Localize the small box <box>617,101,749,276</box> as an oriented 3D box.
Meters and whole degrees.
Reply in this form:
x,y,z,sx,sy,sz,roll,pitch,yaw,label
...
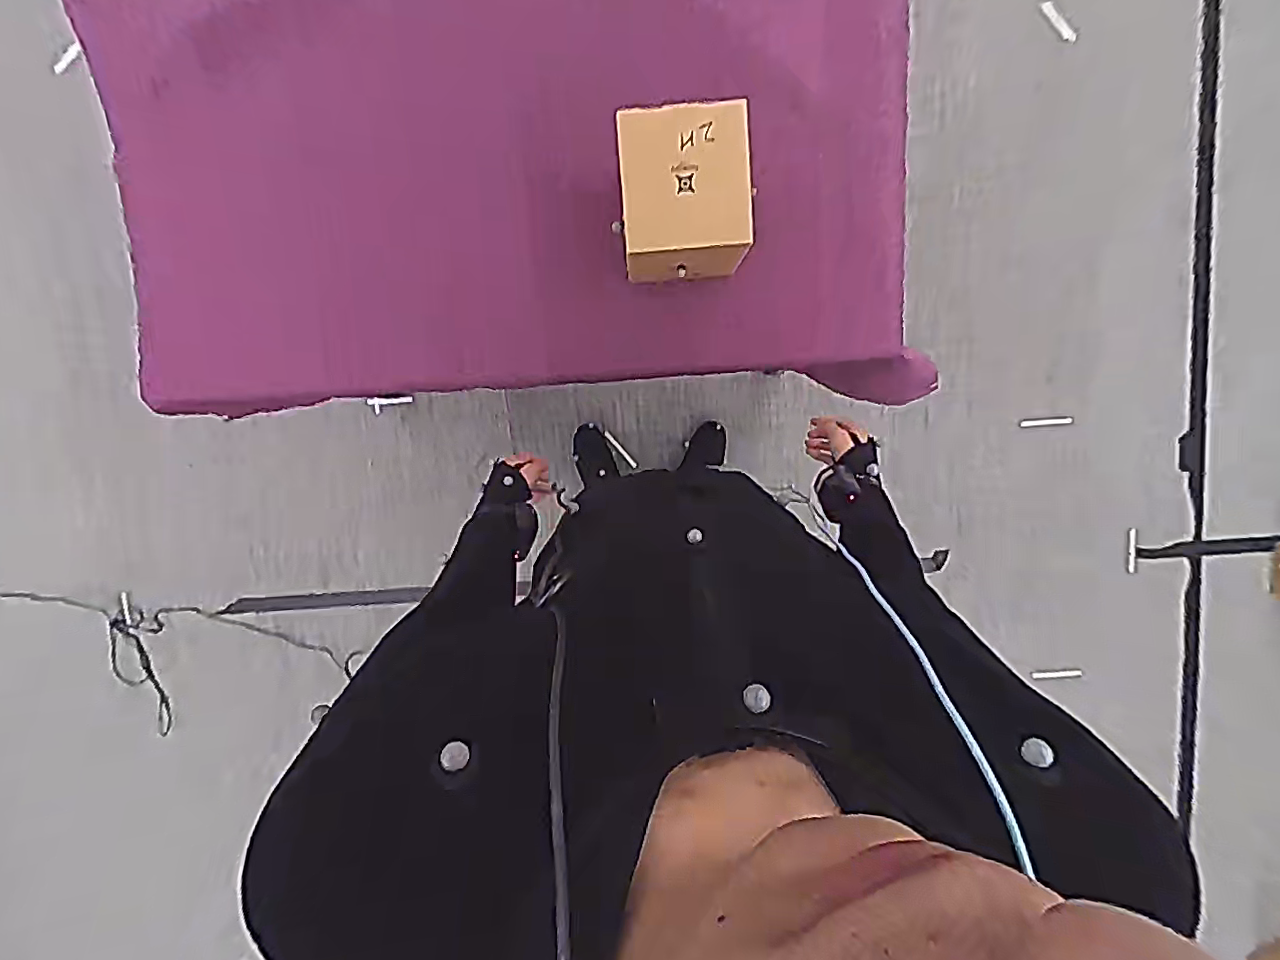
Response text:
x,y,z,sx,sy,sz,roll,pitch,yaw,label
0.058,-0.398,0.771,0.168,0.176,0.179,-4,97,0,small box
